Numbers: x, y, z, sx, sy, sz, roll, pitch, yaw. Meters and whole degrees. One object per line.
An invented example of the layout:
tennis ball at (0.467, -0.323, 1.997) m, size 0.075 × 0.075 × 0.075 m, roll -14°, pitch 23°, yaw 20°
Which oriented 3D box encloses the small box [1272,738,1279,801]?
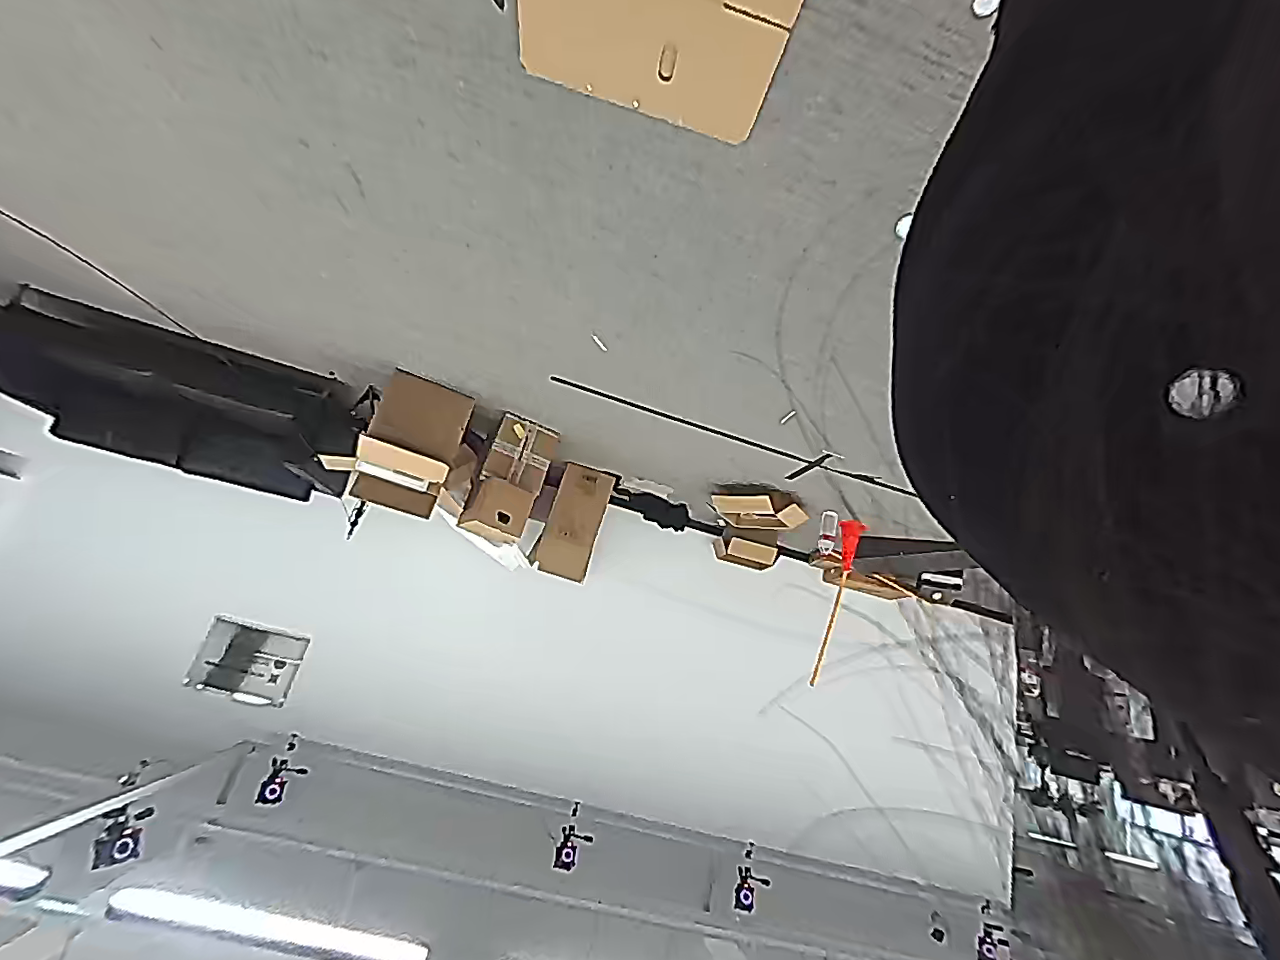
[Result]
small box at (1.860, 0.804, 1.444) m, size 0.179 × 0.176 × 0.168 m, roll 19°, pitch 161°, yaw -11°
